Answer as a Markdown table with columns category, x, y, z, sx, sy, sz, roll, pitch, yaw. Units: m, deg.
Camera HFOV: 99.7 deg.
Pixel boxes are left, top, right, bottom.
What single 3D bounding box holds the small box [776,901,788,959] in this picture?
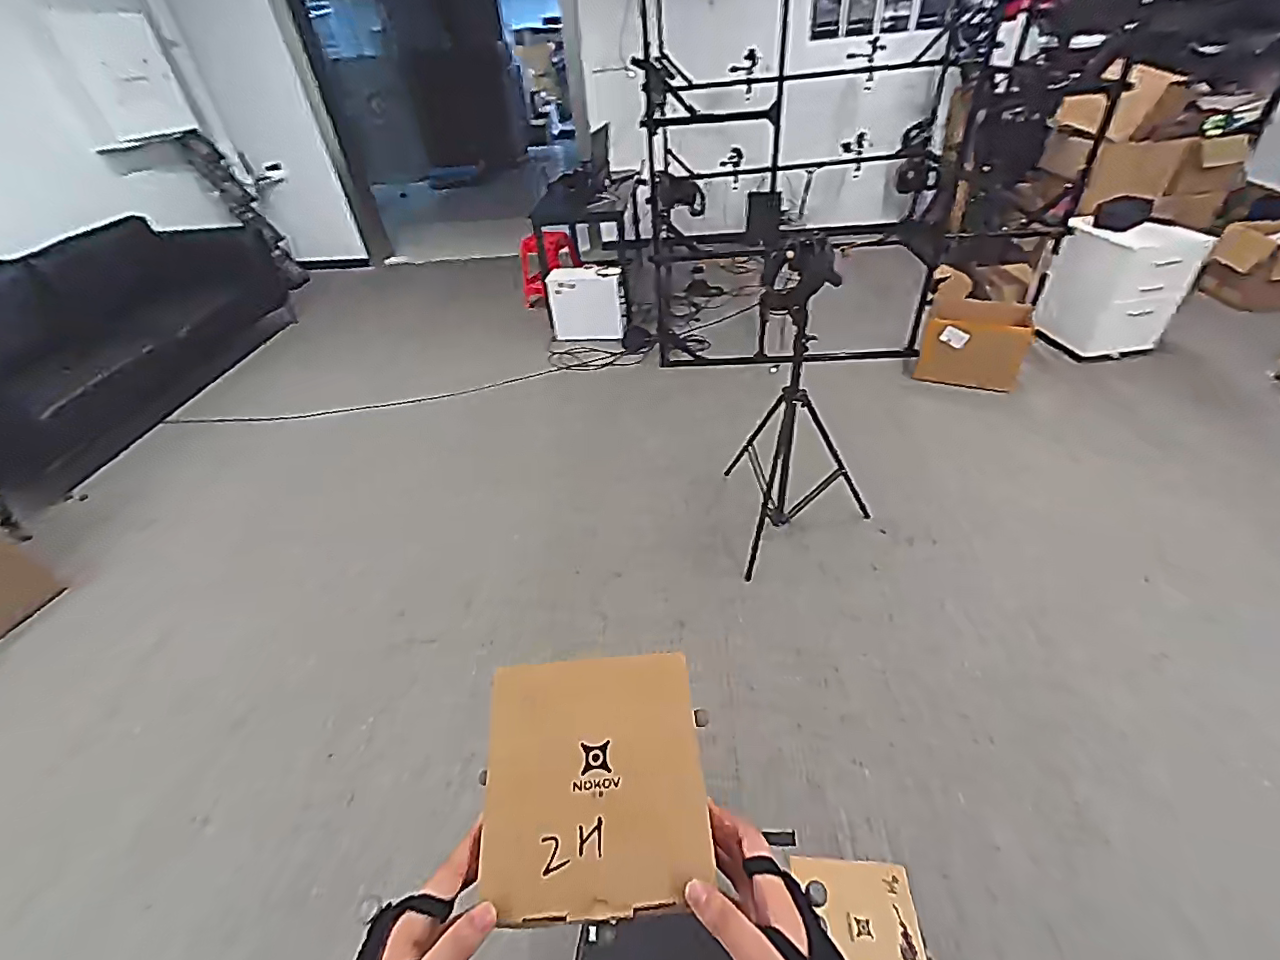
| category | x | y | z | sx | sy | sz | roll | pitch | yaw |
| --- | --- | --- | --- | --- | --- | --- | --- | --- | --- |
| small box | 0.326 | 0.838 | 0.913 | 0.179 | 0.176 | 0.168 | -2 | 39 | 6 |

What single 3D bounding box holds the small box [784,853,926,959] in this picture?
| category | x | y | z | sx | sy | sz | roll | pitch | yaw |
| --- | --- | --- | --- | --- | --- | --- | --- | --- | --- |
| small box | 0.316 | 0.700 | 0.825 | 0.179 | 0.176 | 0.168 | 0 | 39 | 7 |

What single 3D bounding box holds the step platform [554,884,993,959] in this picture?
| category | x | y | z | sx | sy | sz | roll | pitch | yaw |
| --- | --- | --- | --- | --- | --- | --- | --- | --- | --- |
| step platform | 0.204 | 0.845 | 0.860 | 0.684 | 0.204 | 0.286 | -2 | 39 | 4 |
